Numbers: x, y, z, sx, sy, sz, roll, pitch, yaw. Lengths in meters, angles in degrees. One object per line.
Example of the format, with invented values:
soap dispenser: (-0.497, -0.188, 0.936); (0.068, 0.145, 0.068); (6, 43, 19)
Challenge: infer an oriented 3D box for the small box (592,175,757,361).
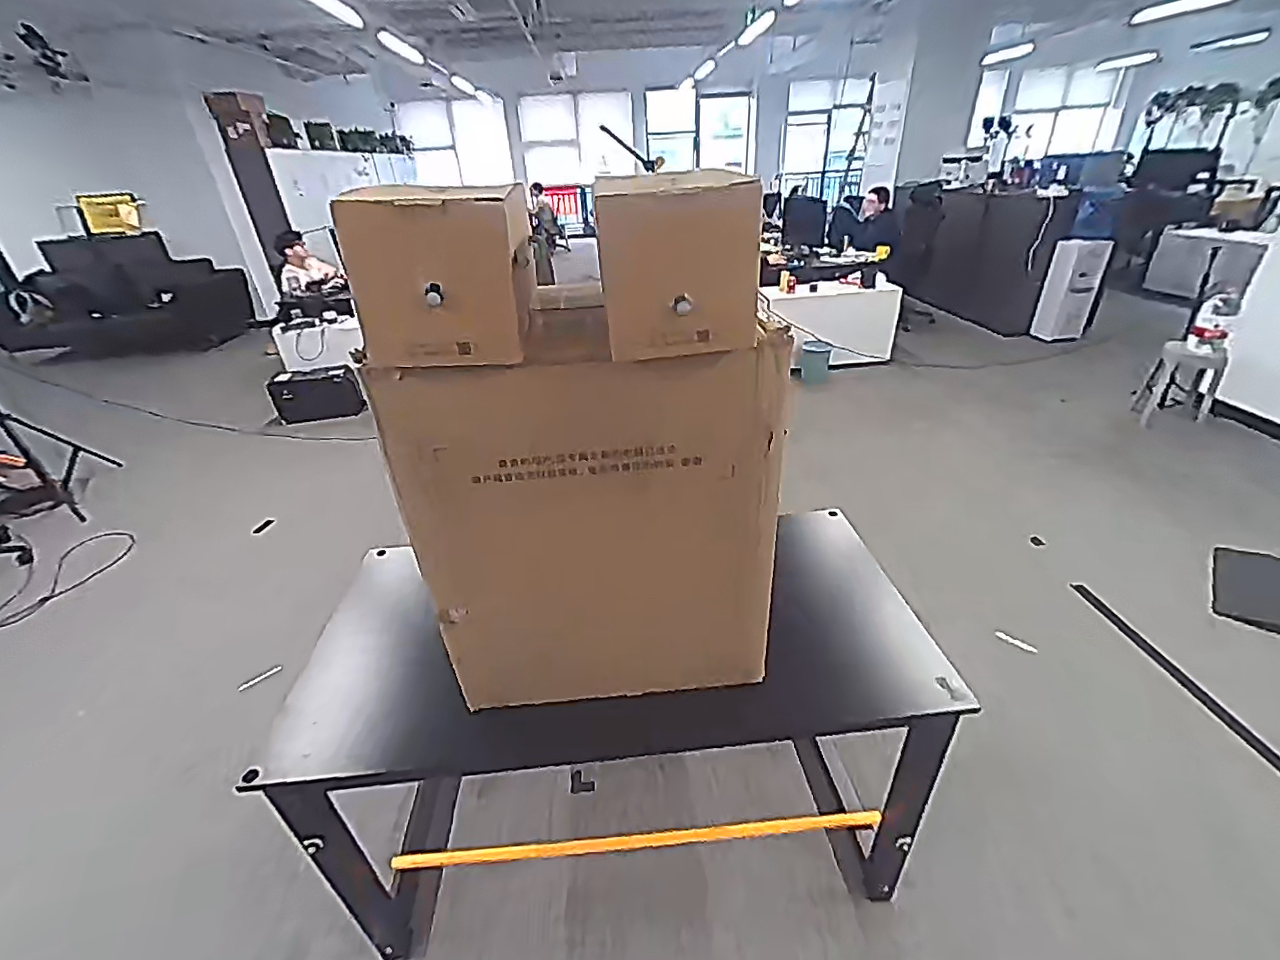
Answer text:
small box: (0.033, -0.253, 0.638); (0.168, 0.176, 0.179); (-7, 34, -2)

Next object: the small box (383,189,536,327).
small box: (-0.250, -0.330, 0.800); (0.168, 0.176, 0.179); (-6, 30, -3)
